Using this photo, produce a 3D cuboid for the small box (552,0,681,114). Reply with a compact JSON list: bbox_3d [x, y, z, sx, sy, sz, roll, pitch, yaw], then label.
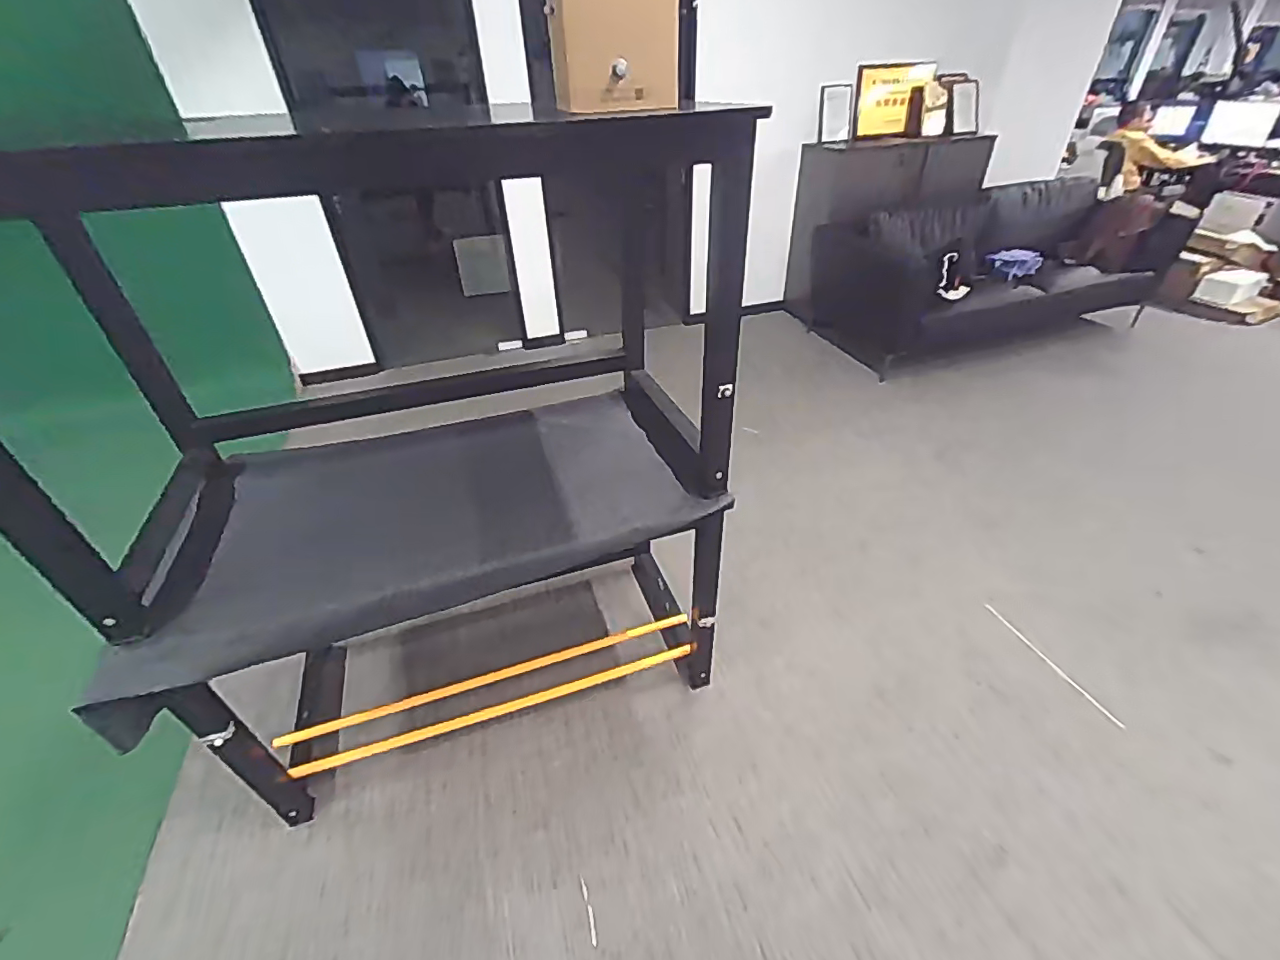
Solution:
[{"bbox_3d":[-0.040,-0.664,0.826,0.168,0.176,0.179,-10,38,-10],"label":"small box"}]
